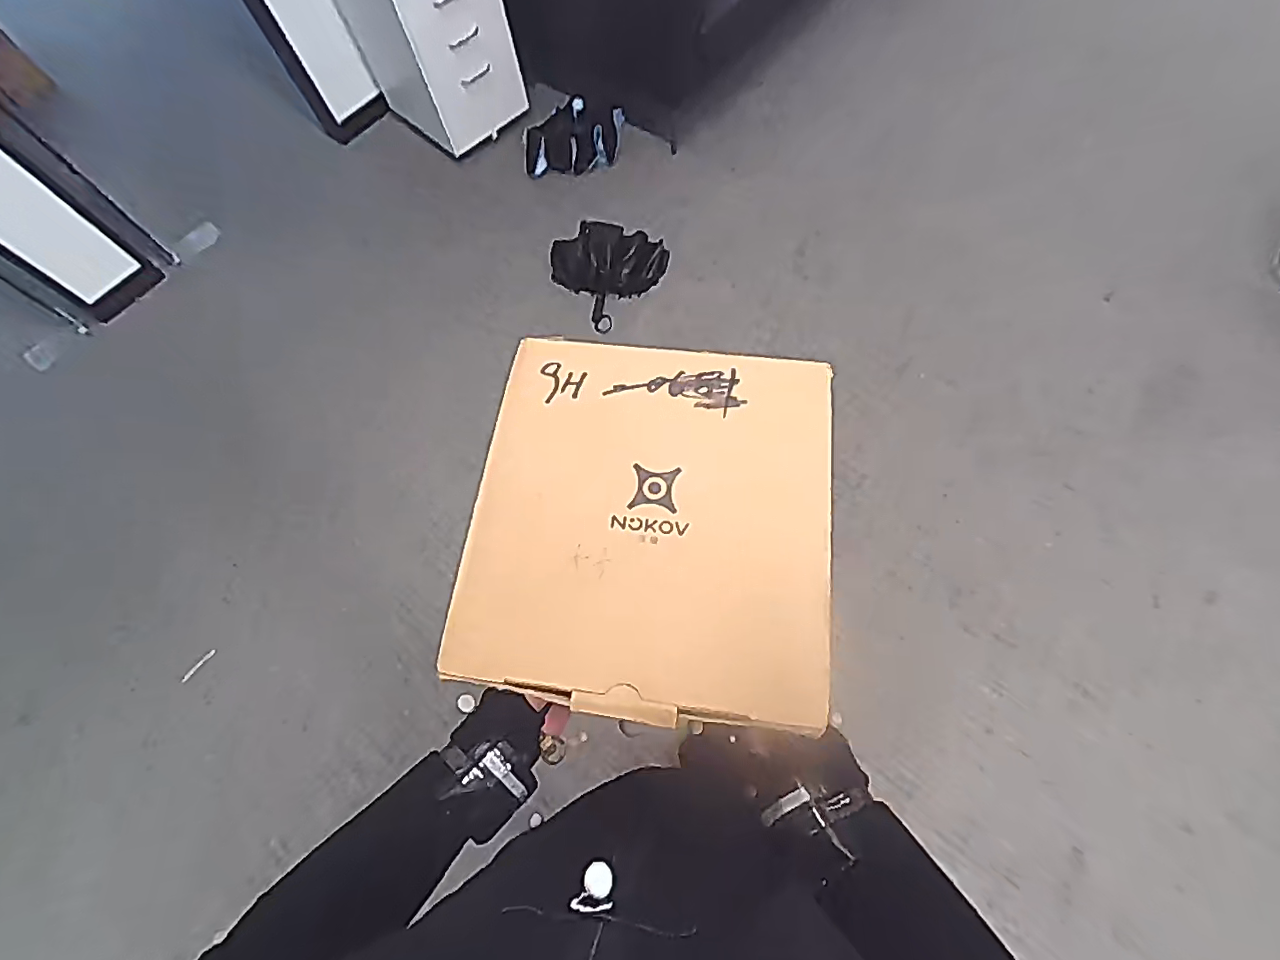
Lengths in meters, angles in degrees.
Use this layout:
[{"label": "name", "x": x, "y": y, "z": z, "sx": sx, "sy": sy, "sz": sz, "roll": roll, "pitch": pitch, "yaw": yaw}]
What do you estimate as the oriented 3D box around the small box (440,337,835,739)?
[{"label": "small box", "x": 0.010, "y": 0.041, "z": 0.325, "sx": 0.168, "sy": 0.176, "sz": 0.179, "roll": 6, "pitch": 70, "yaw": 6}]
